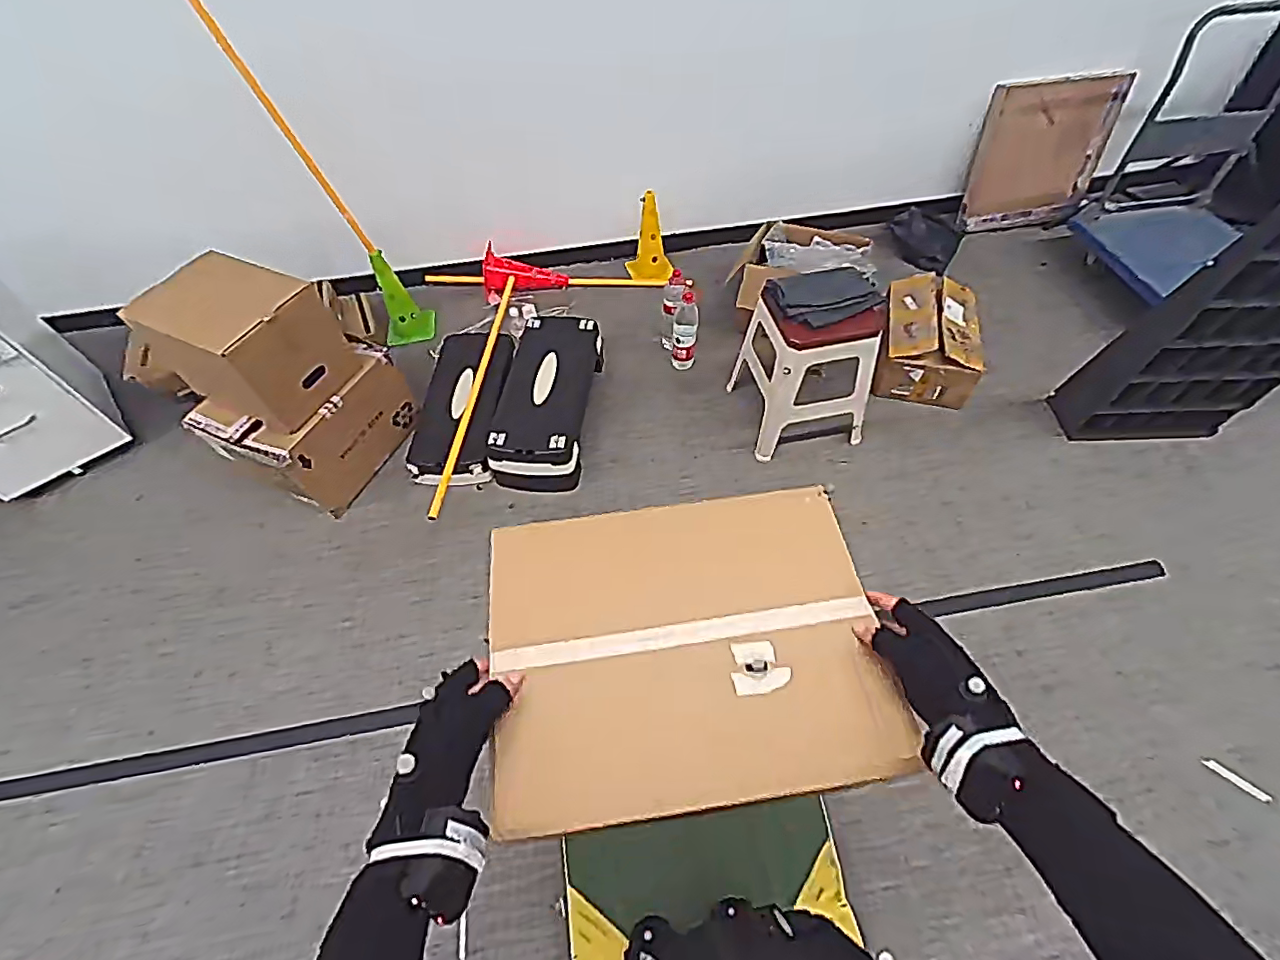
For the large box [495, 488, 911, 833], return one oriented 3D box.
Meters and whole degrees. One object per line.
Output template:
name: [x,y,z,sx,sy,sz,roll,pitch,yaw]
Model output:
large box: [0.045,0.245,0.708,0.408,0.320,0.320,-8,58,-4]
